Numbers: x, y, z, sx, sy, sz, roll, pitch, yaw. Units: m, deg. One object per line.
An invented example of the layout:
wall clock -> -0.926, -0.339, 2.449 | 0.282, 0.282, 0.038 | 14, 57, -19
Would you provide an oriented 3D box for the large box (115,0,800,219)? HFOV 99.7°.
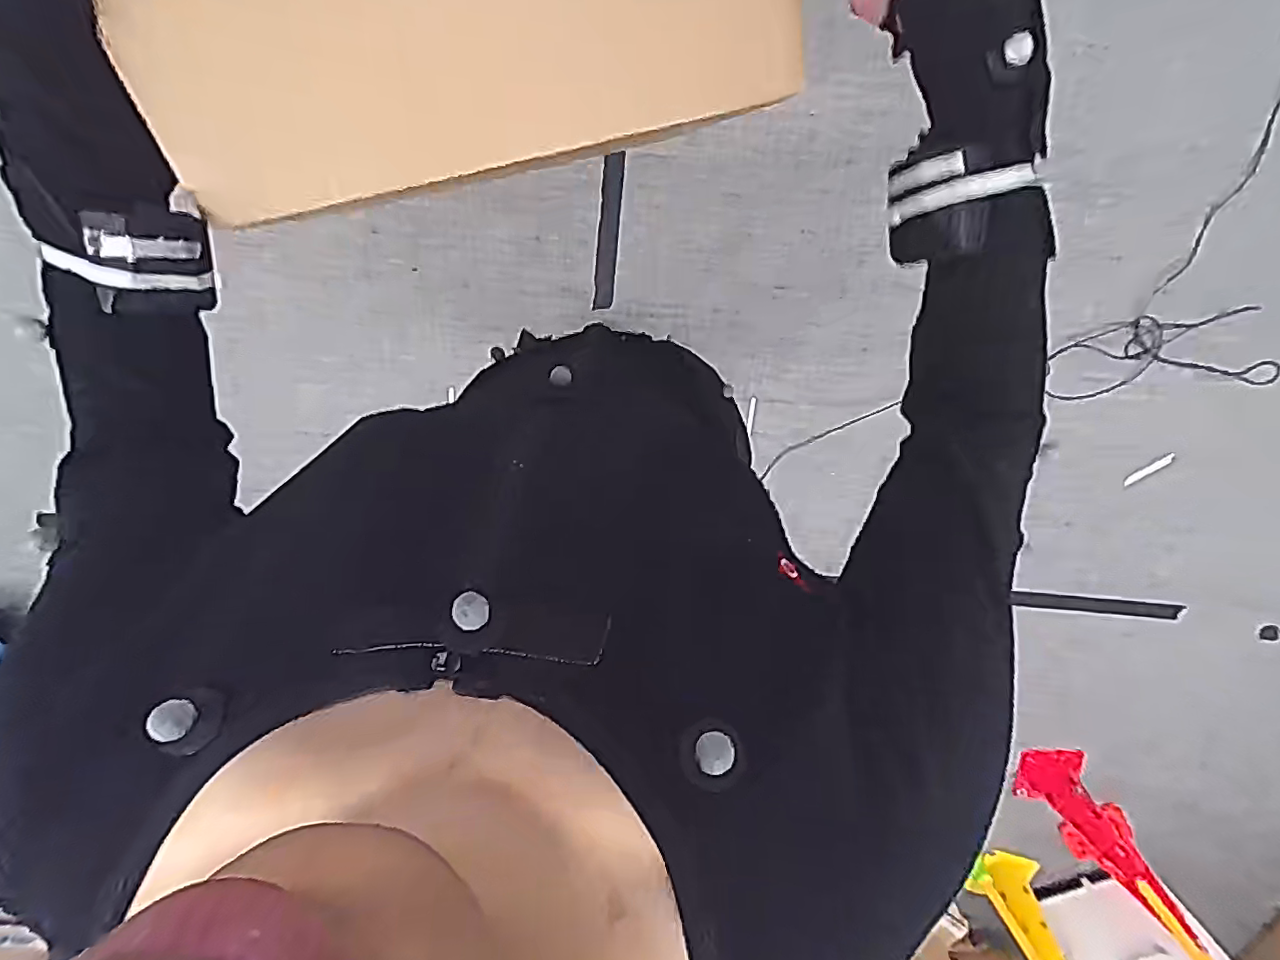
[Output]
large box -> -0.139, -0.419, 0.421 | 0.408, 0.320, 0.320 | -16, 120, -5
